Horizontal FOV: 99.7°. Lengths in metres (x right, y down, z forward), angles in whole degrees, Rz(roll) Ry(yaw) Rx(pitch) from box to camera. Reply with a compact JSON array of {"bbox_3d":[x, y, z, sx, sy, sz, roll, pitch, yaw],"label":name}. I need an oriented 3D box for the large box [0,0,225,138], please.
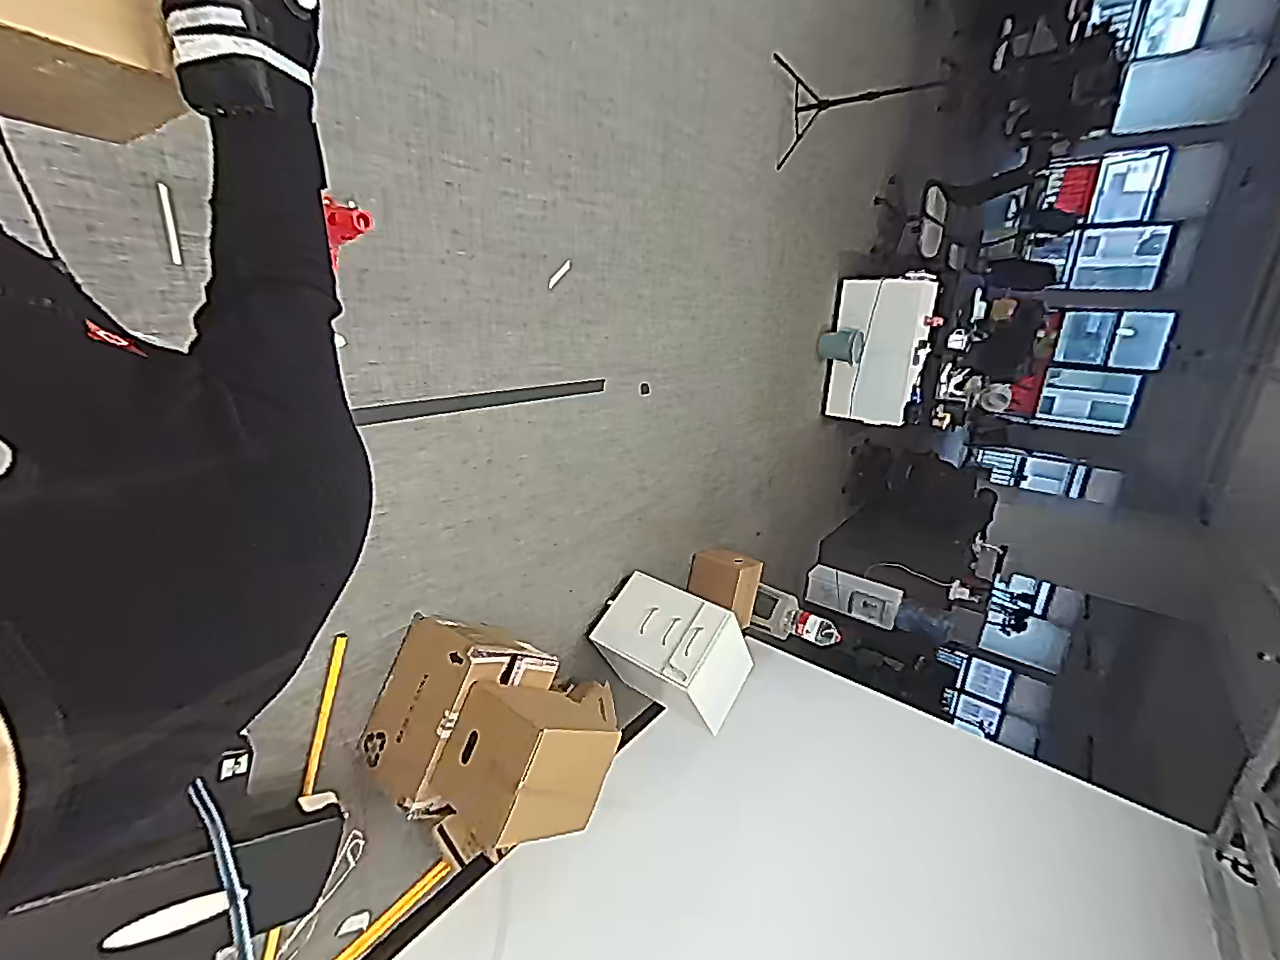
[{"bbox_3d":[-0.528,-0.429,0.283,0.408,0.320,0.320,-15,116,-51],"label":"large box"}]
